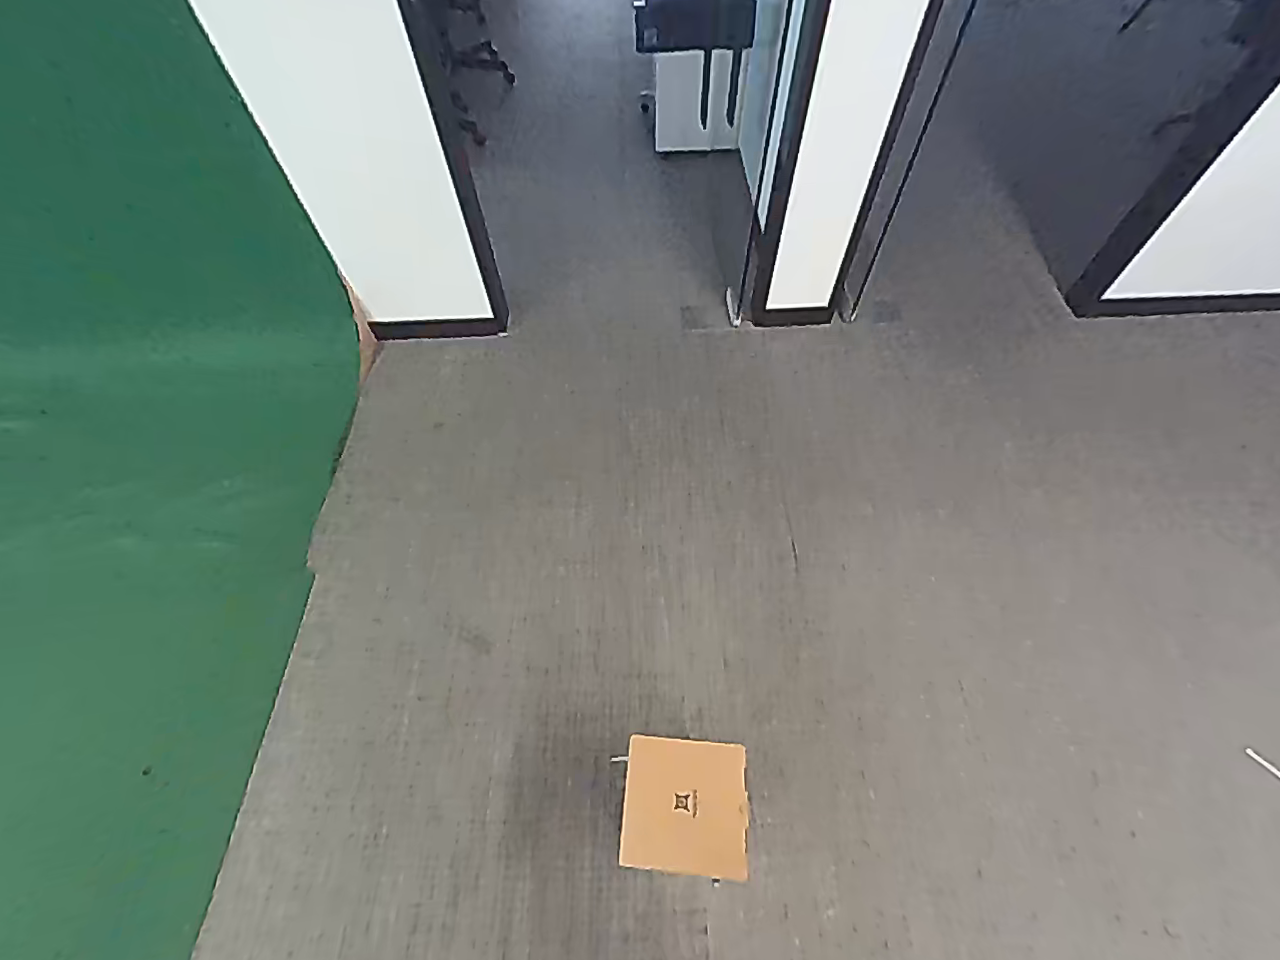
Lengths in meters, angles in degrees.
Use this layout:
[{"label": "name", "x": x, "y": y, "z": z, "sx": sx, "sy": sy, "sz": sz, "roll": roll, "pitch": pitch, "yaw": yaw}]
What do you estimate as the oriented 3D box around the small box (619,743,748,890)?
[{"label": "small box", "x": 0.068, "y": 0.515, "z": 0.830, "sx": 0.179, "sy": 0.176, "sz": 0.168, "roll": 4, "pitch": 56, "yaw": 4}]
